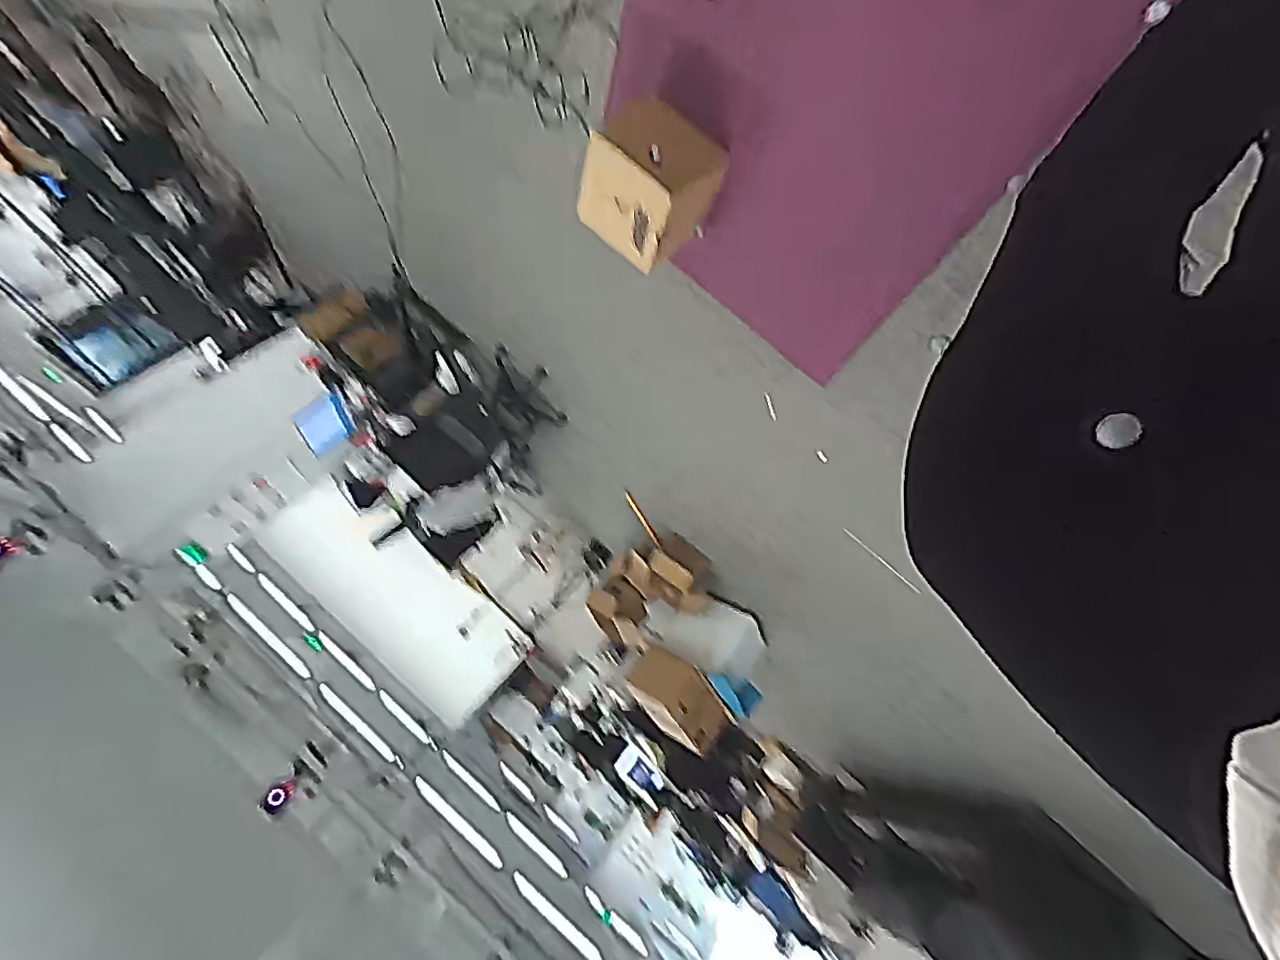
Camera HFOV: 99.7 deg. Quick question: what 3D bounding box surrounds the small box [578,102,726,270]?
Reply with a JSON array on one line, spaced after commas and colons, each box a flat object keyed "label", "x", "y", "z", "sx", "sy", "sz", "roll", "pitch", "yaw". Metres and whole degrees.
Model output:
[{"label": "small box", "x": 0.020, "y": -0.515, "z": 0.946, "sx": 0.179, "sy": 0.176, "sz": 0.168, "roll": 42, "pitch": 153, "yaw": 4}]
